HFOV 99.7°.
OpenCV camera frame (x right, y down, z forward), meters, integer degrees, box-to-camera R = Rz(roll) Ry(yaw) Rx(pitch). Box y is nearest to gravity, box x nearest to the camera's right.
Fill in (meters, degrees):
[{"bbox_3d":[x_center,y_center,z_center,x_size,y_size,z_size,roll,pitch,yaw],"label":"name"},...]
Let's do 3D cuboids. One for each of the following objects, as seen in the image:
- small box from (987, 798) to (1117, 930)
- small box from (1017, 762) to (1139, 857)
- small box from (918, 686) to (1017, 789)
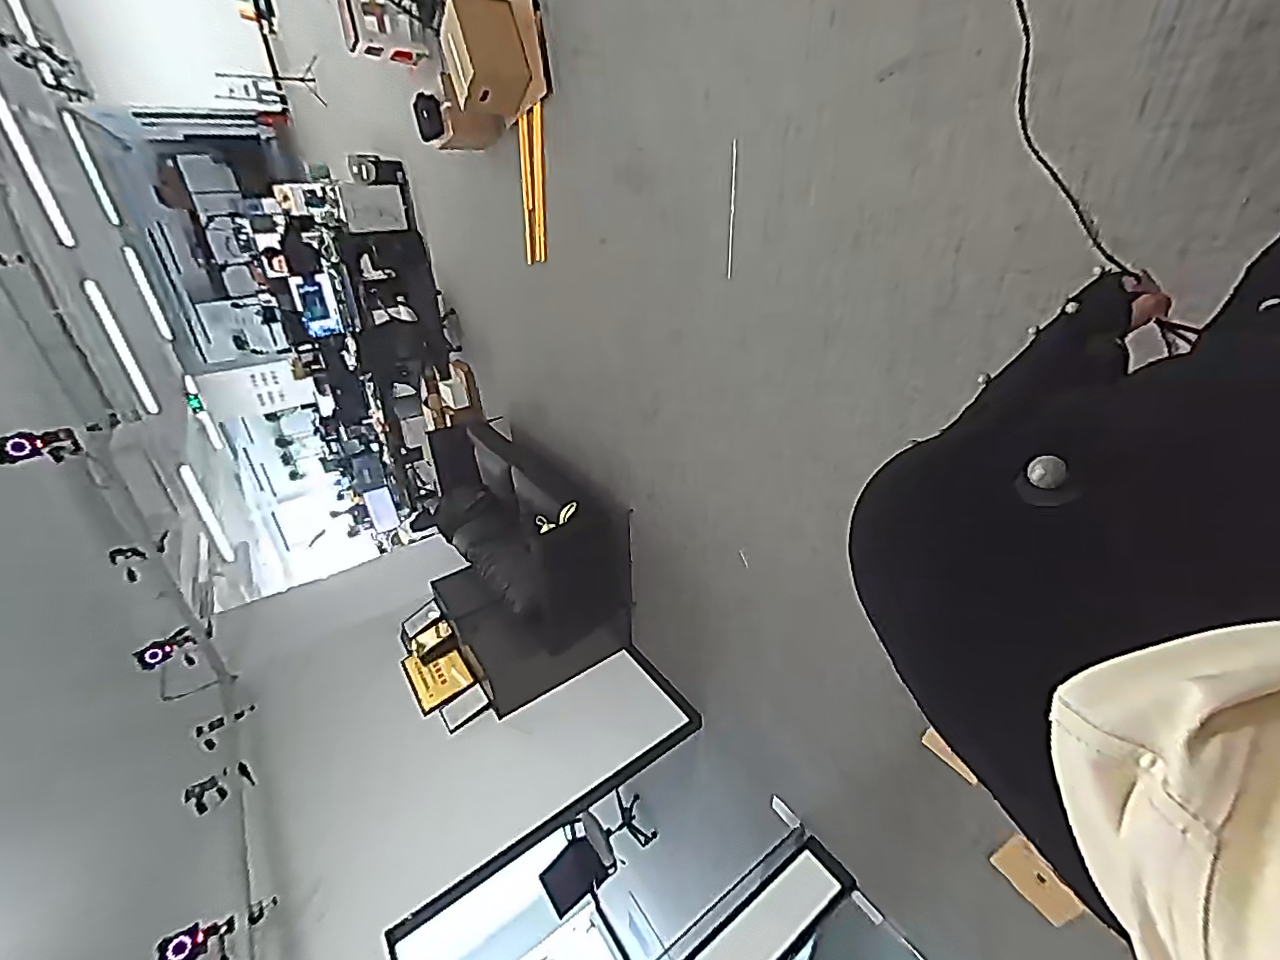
[{"bbox_3d":[0.987,0.914,1.296,0.168,0.176,0.179,41,141,40],"label":"small box"},{"bbox_3d":[1.120,0.871,1.383,0.168,0.176,0.179,39,139,42],"label":"small box"},{"bbox_3d":[0.952,0.739,1.568,0.168,0.176,0.179,38,139,39],"label":"small box"}]
